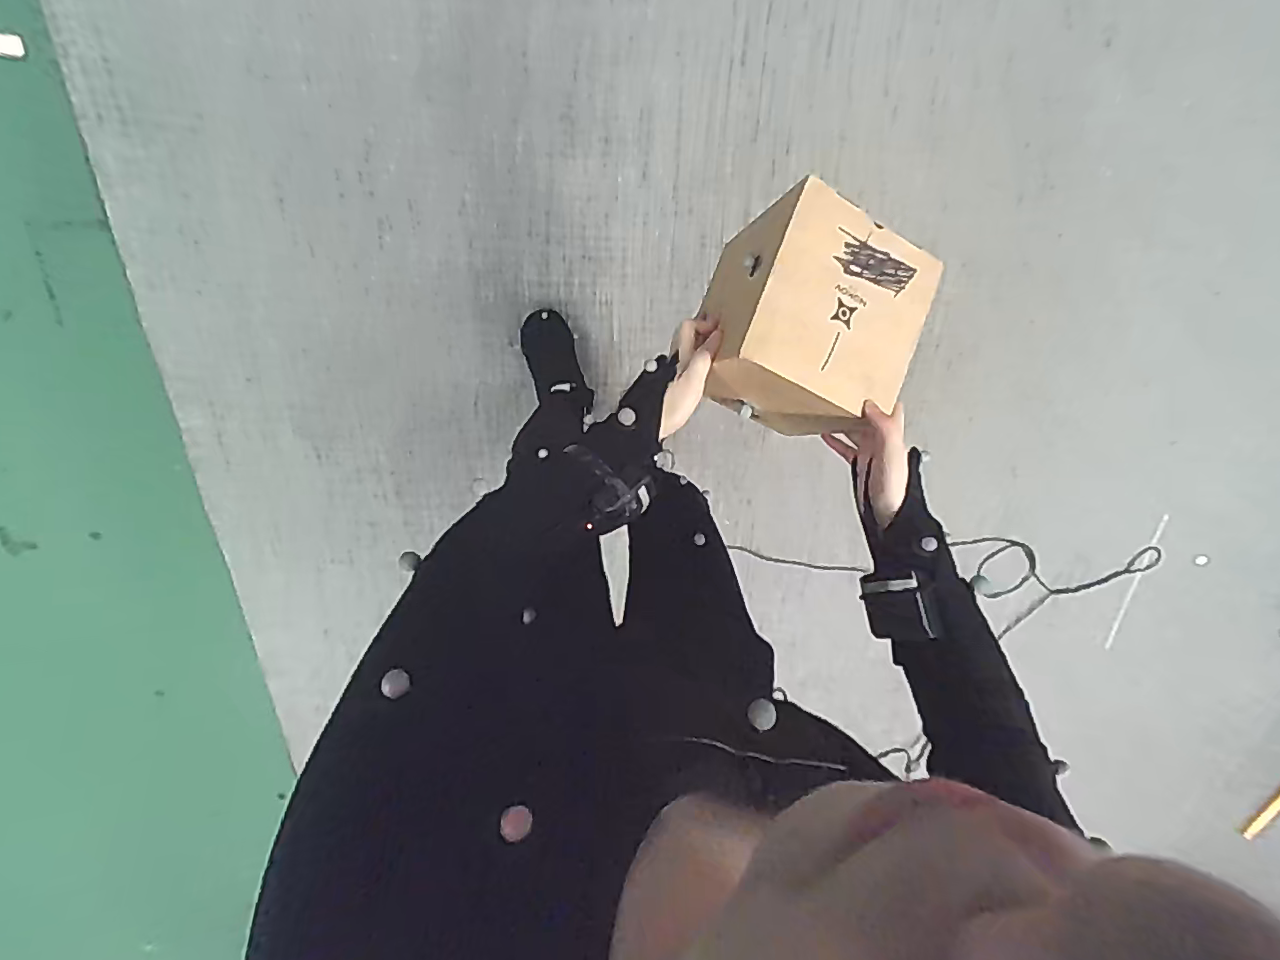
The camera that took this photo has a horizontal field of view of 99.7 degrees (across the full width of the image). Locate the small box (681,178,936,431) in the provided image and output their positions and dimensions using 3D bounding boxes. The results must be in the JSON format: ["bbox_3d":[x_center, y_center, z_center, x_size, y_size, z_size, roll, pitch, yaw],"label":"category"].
[{"bbox_3d":[0.163,-0.164,0.573,0.168,0.176,0.179,23,86,-17],"label":"small box"}]
